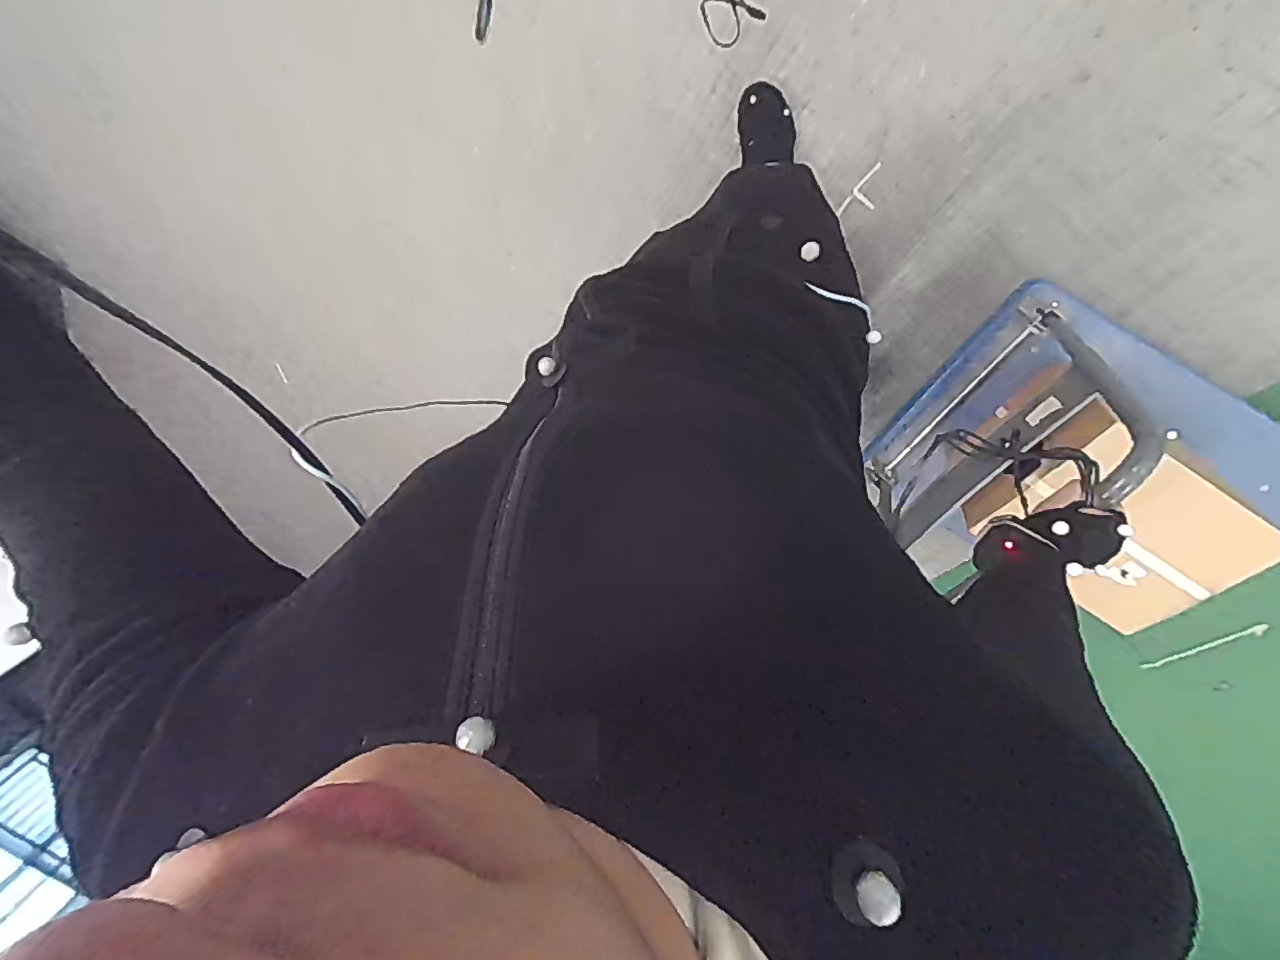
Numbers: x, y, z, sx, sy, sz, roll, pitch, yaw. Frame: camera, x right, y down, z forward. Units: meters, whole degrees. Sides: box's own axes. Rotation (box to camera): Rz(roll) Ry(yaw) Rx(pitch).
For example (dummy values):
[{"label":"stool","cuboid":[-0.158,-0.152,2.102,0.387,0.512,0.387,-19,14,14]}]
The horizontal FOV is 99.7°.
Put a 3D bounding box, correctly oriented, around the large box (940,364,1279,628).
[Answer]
[{"label":"large box","cuboid":[0.929,0.025,1.137,0.408,0.320,0.320,33,128,-3]}]
